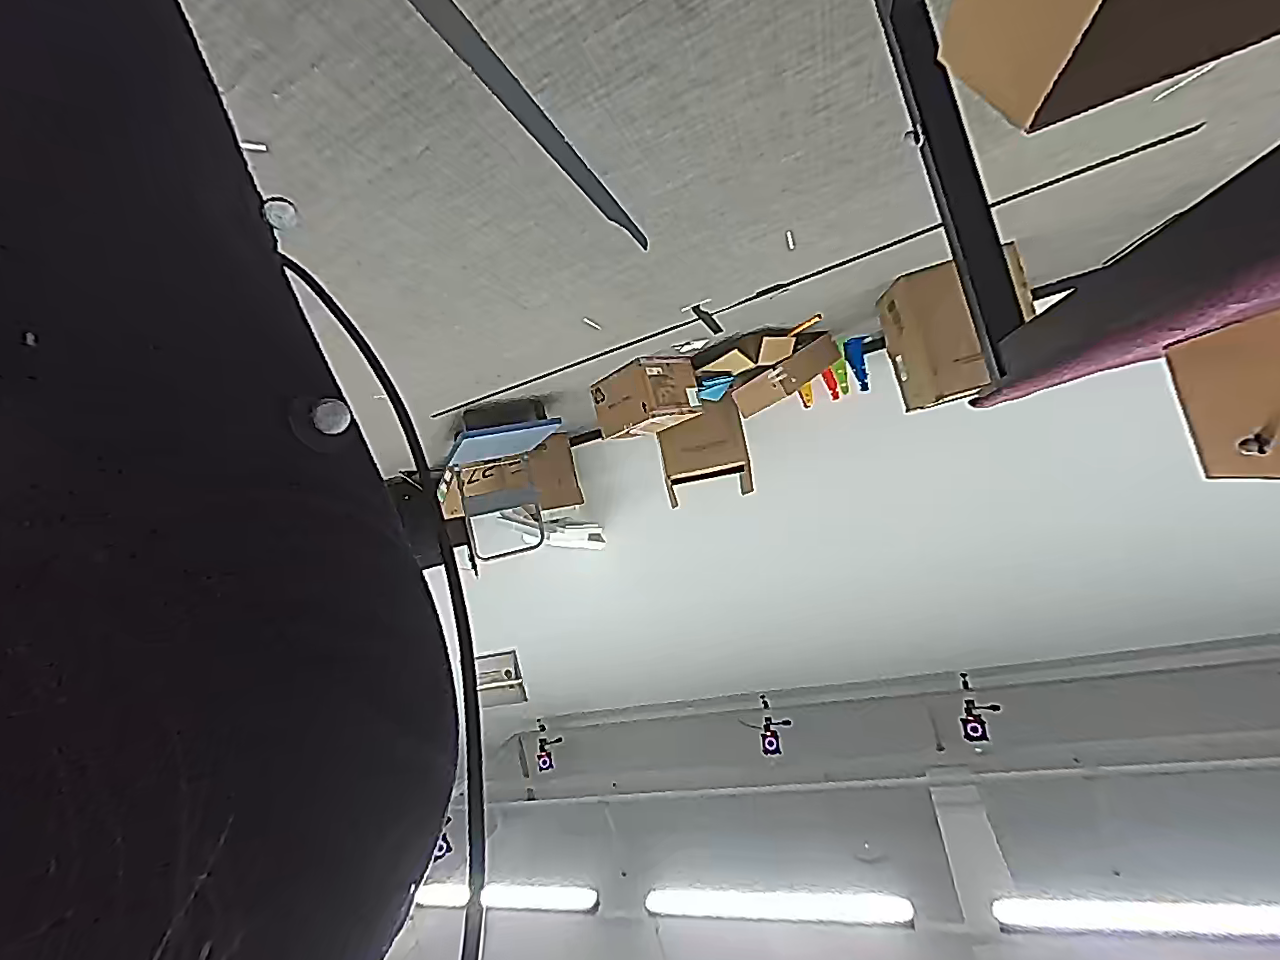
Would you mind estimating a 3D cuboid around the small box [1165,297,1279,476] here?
[{"bbox_3d":[0.696,-0.107,0.552,0.168,0.176,0.179,-16,176,14],"label":"small box"}]
